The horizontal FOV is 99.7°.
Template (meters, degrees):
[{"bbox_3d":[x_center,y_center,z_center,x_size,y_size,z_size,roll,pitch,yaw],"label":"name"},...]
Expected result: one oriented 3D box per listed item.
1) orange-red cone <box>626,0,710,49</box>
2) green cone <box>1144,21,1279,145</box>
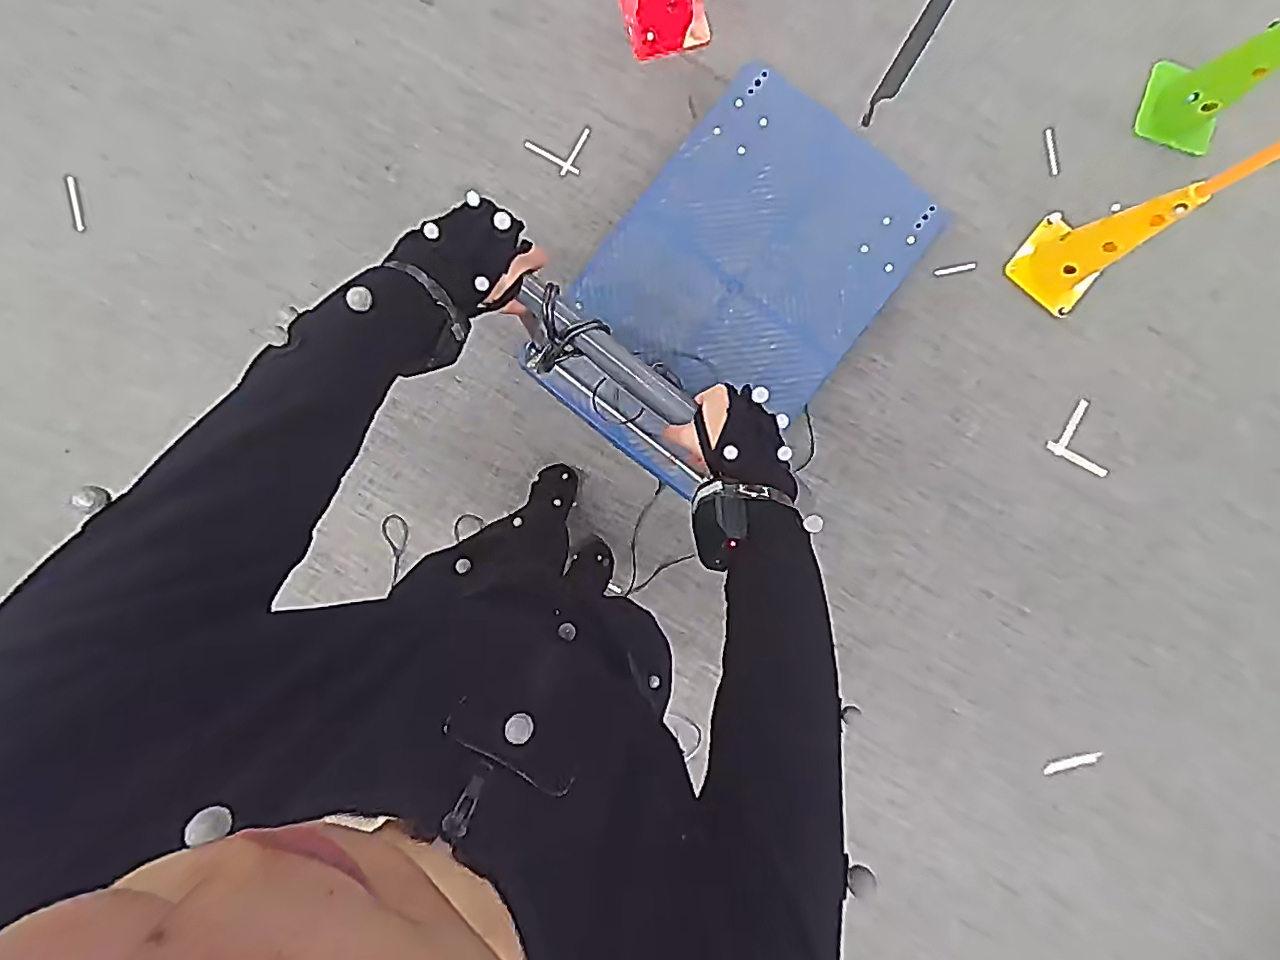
[{"bbox_3d":[0.069,-1.184,1.177,0.199,0.360,0.198,-15,92,-2],"label":"orange-red cone"},{"bbox_3d":[1.399,-0.965,1.203,0.200,0.368,0.202,17,92,-1],"label":"green cone"}]
